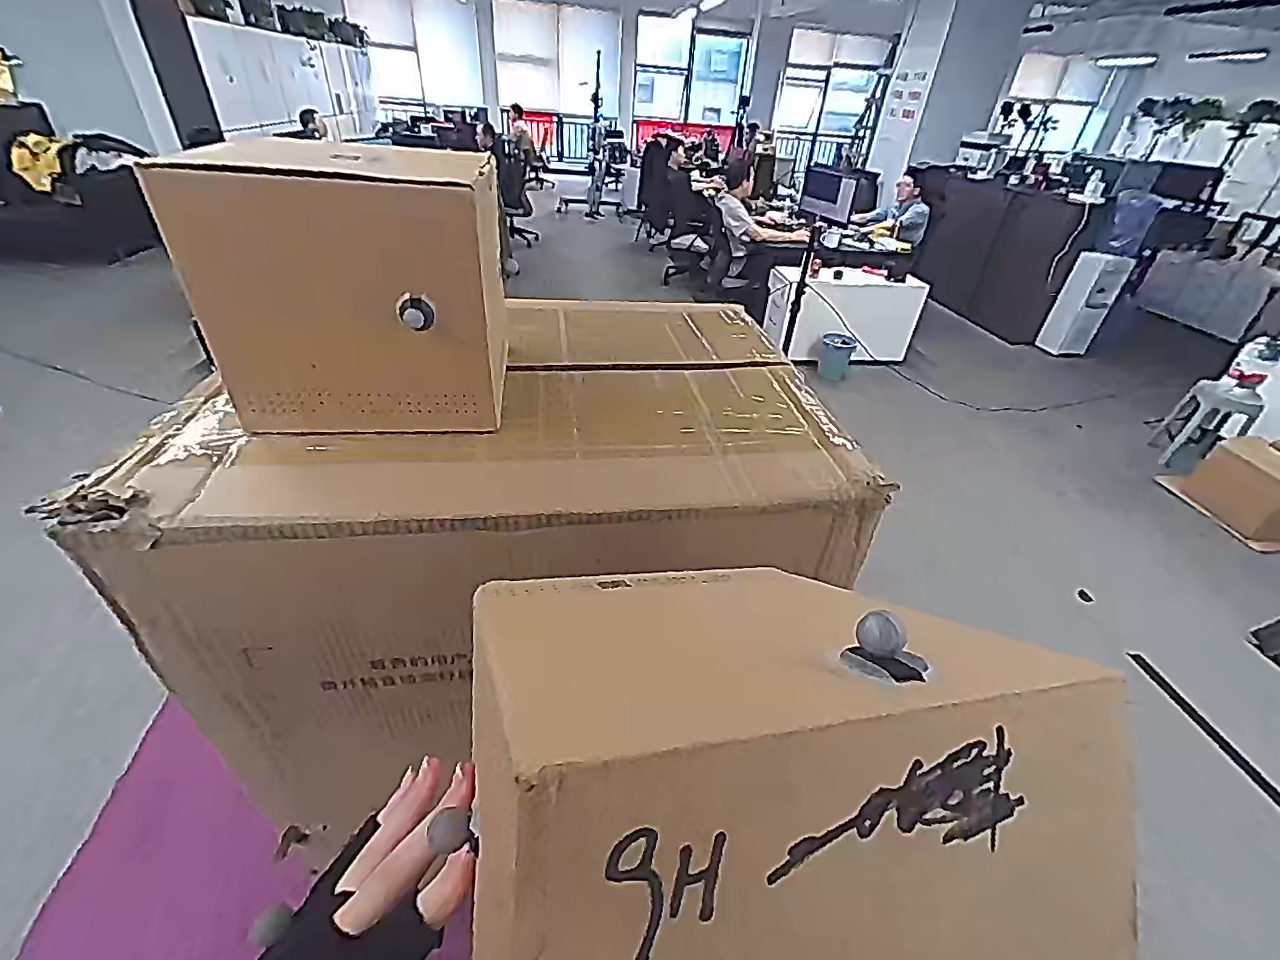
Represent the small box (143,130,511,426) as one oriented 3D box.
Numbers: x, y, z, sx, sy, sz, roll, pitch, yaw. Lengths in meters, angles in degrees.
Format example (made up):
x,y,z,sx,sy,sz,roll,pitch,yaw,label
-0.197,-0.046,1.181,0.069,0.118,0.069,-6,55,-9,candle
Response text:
x,y,z,sx,sy,sz,roll,pitch,yaw,label
-0.192,-0.150,0.405,0.179,0.176,0.168,-2,35,-9,small box
